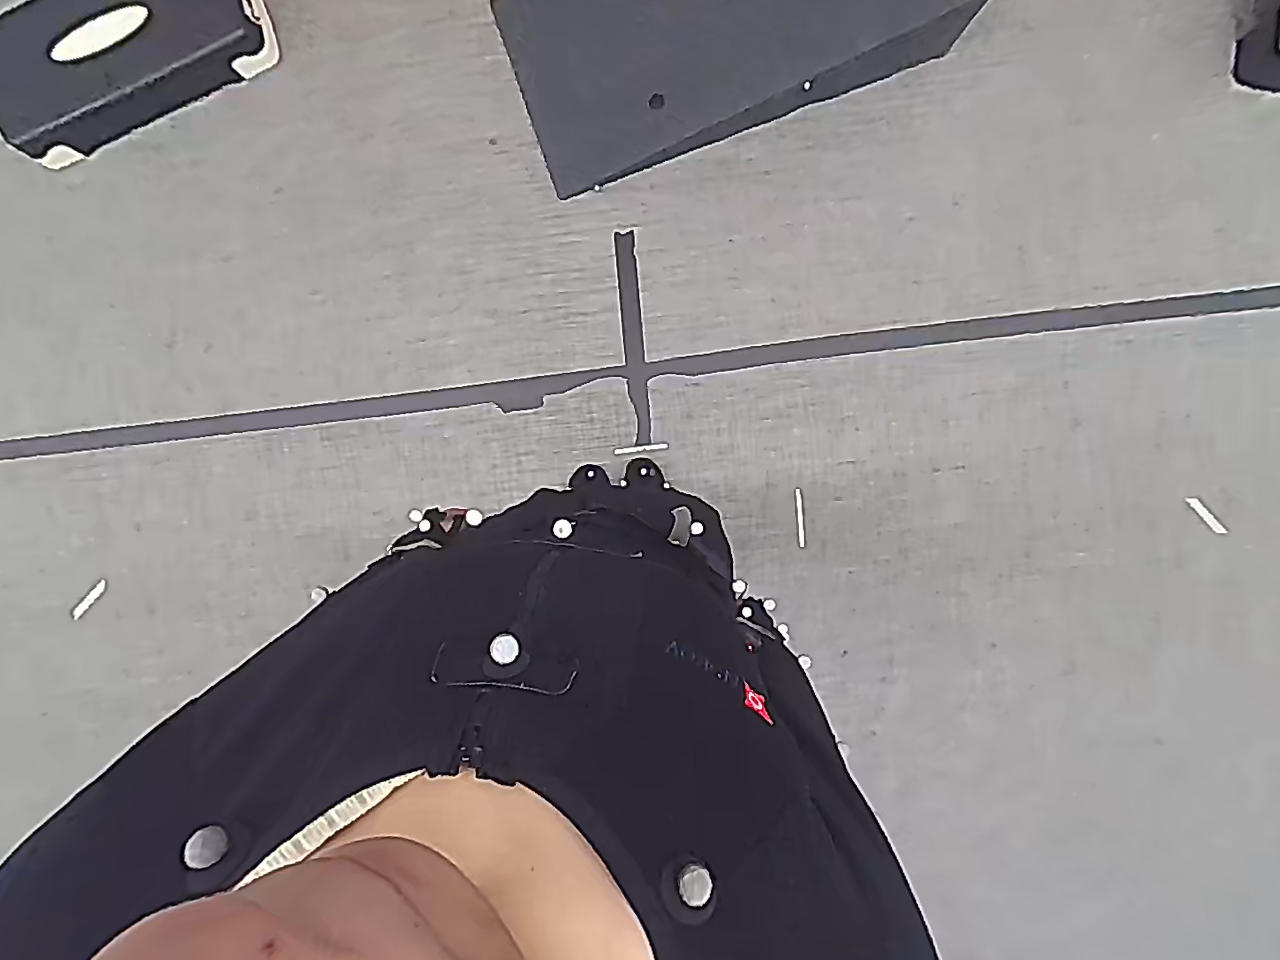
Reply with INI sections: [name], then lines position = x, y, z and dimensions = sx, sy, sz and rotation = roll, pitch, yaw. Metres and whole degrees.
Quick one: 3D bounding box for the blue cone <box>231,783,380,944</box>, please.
[blue cone]
position = -0.804, 0.920, 1.291
dimensions = 0.192, 0.380, 0.193
rotation = -5, 95, 3
